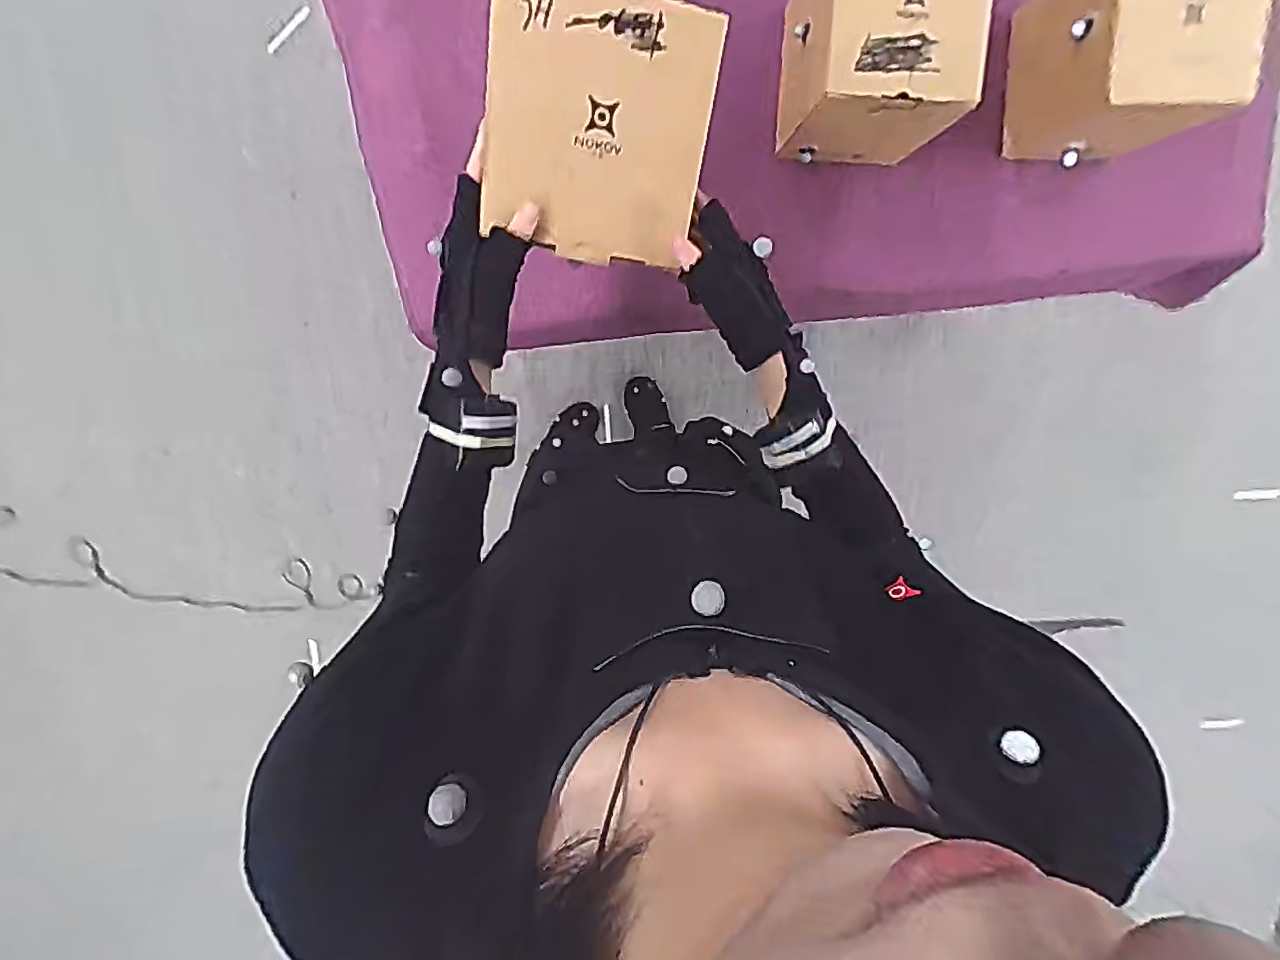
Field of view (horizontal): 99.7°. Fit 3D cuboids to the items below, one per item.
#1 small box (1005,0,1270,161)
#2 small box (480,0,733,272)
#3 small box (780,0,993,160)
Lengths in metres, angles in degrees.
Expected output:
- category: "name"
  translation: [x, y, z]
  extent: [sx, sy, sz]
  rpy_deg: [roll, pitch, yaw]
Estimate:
- category: "small box"
  translation: [0.570, -0.505, 0.639]
  extent: [0.168, 0.176, 0.179]
  rpy_deg: [-3, 102, -2]
- category: "small box"
  translation: [-0.038, -0.296, 0.471]
  extent: [0.168, 0.176, 0.179]
  rpy_deg: [6, 115, -12]
- category: "small box"
  translation: [0.268, -0.493, 0.618]
  extent: [0.168, 0.176, 0.179]
  rpy_deg: [1, 100, -4]
